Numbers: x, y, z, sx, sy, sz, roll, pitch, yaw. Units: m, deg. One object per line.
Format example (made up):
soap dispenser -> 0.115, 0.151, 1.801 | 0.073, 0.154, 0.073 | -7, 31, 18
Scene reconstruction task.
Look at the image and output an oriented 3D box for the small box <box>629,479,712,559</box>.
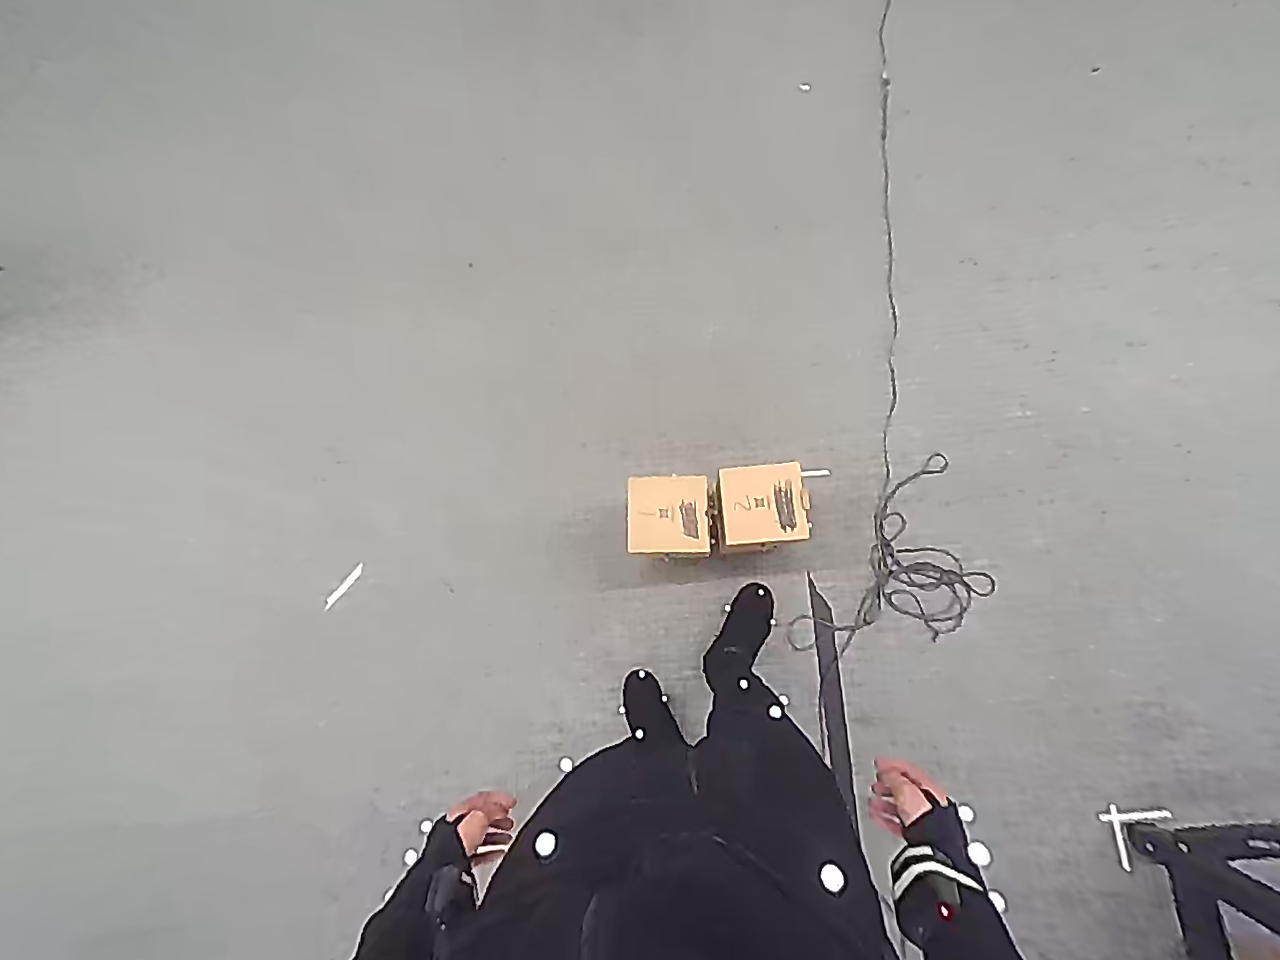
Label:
small box -> 0.073, 0.092, 1.221 | 0.179, 0.176, 0.168 | -2, 79, 8
